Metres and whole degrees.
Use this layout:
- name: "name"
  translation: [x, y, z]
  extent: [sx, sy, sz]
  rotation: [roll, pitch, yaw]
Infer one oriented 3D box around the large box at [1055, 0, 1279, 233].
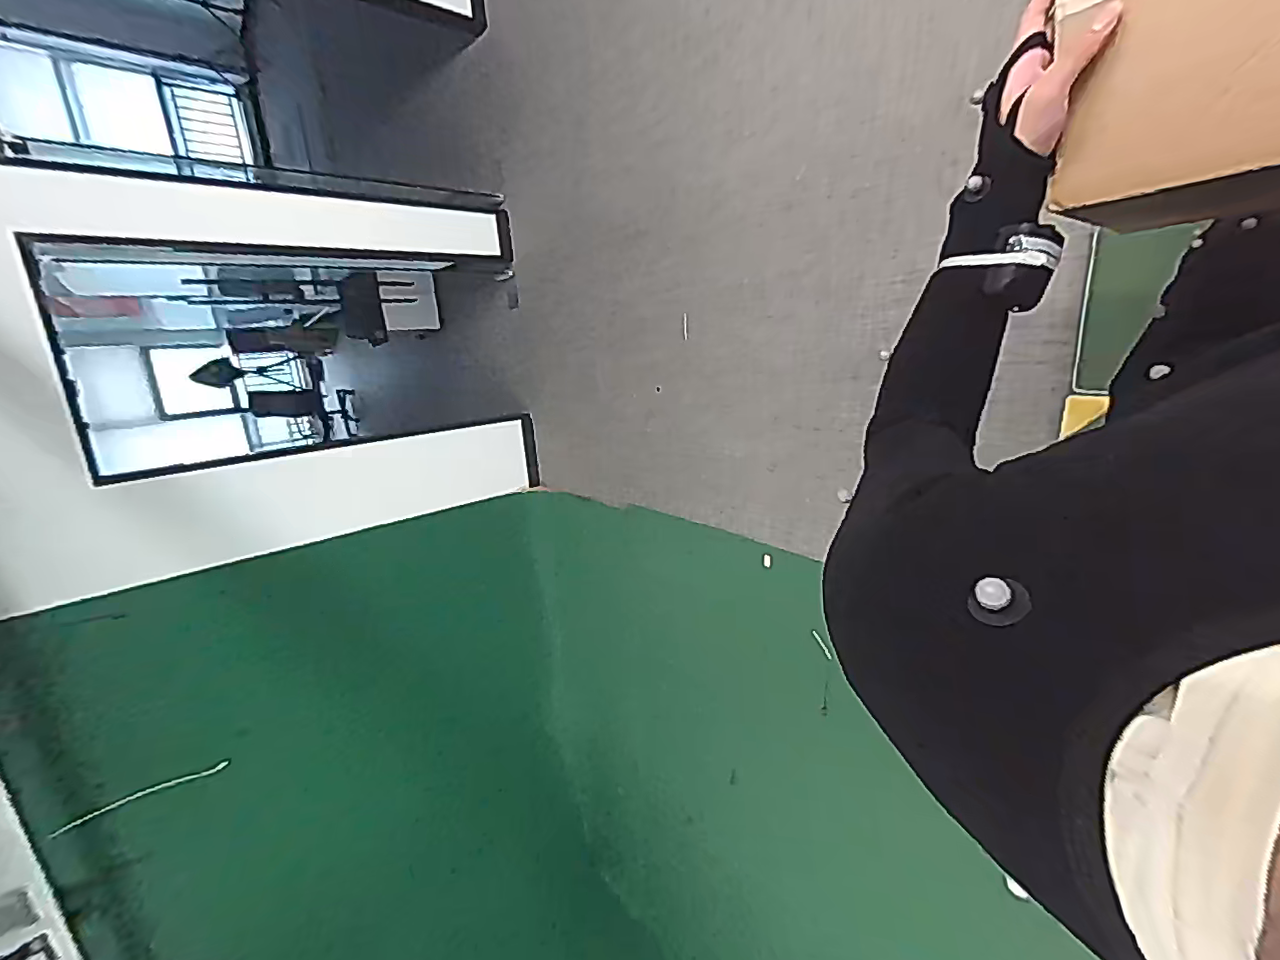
- name: "large box"
  translation: [0.592, -0.403, 0.398]
  extent: [0.408, 0.320, 0.320]
  rotation: [8, 109, 48]
